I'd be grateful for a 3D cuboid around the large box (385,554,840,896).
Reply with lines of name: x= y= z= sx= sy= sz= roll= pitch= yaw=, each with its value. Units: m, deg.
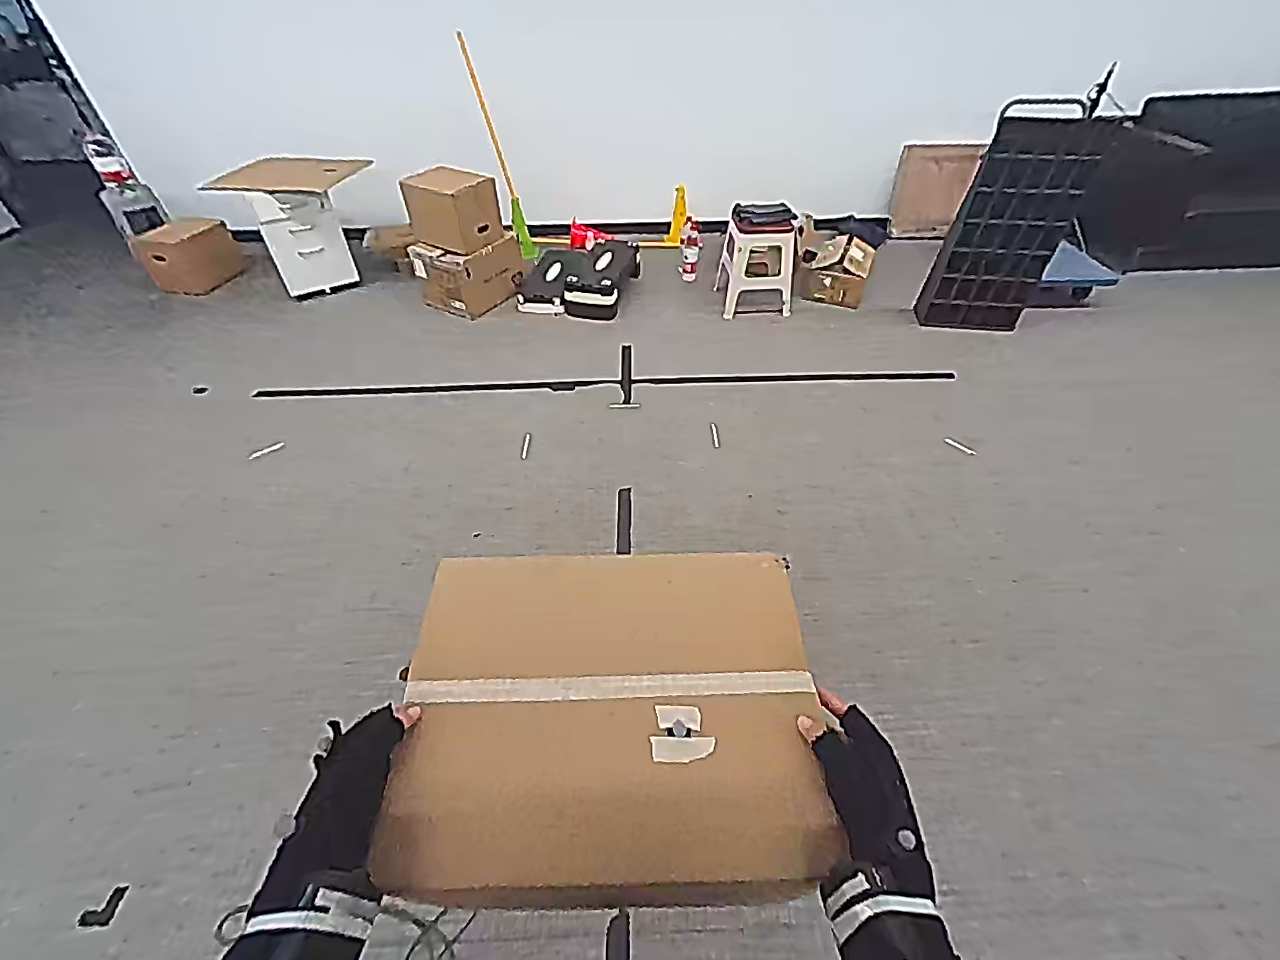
large box: x=-0.029 y=0.307 z=0.673 sx=0.408 sy=0.320 sz=0.320 roll=0 pitch=50 yaw=-1
